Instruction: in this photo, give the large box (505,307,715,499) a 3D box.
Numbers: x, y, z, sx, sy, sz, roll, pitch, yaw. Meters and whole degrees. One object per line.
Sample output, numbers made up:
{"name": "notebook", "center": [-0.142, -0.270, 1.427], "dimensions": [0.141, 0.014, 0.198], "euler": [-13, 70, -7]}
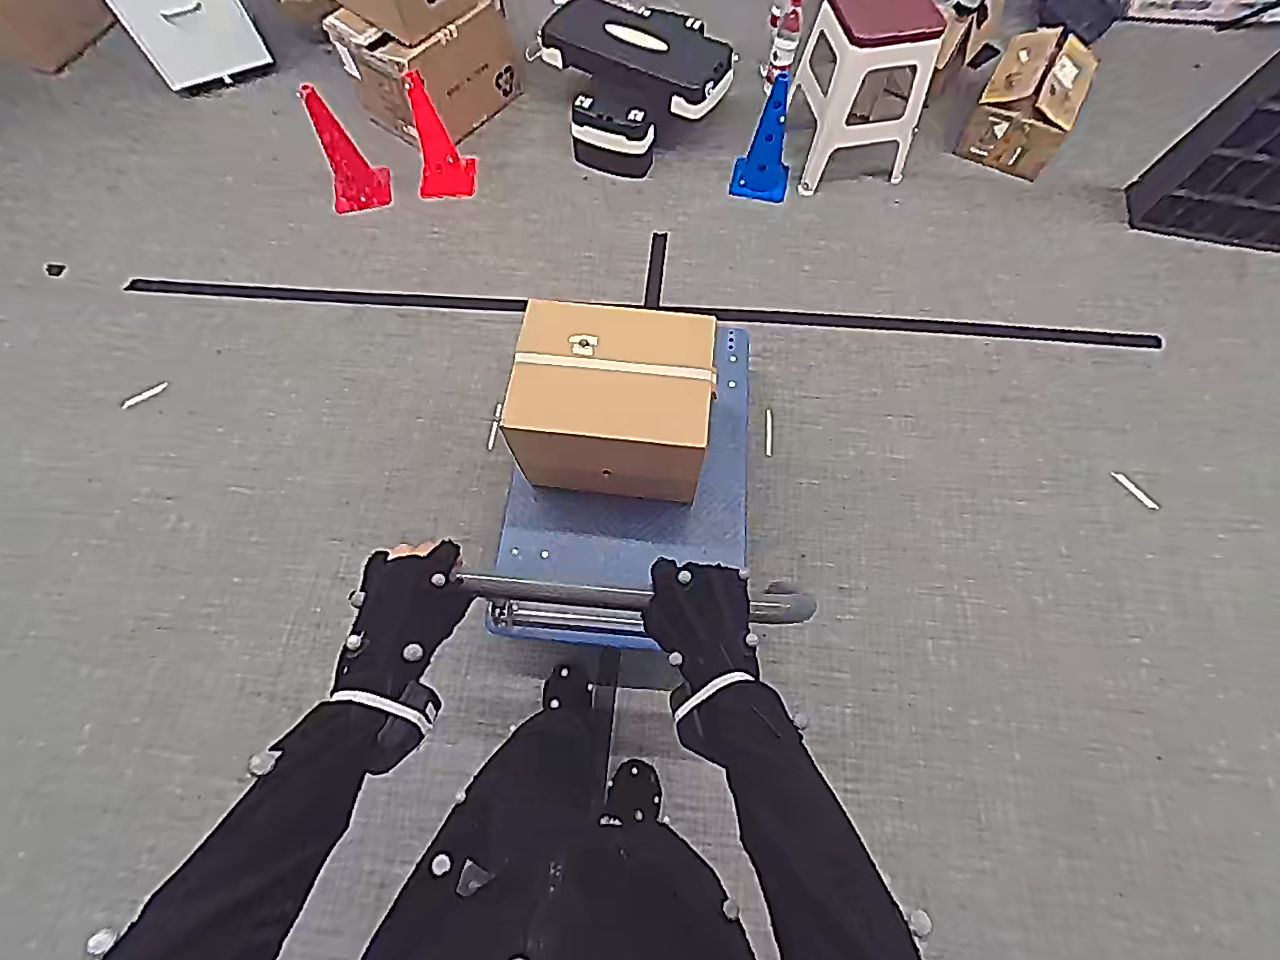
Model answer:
{"name": "large box", "center": [-0.048, -0.161, 1.236], "dimensions": [0.408, 0.320, 0.320], "euler": [6, 68, 4]}
